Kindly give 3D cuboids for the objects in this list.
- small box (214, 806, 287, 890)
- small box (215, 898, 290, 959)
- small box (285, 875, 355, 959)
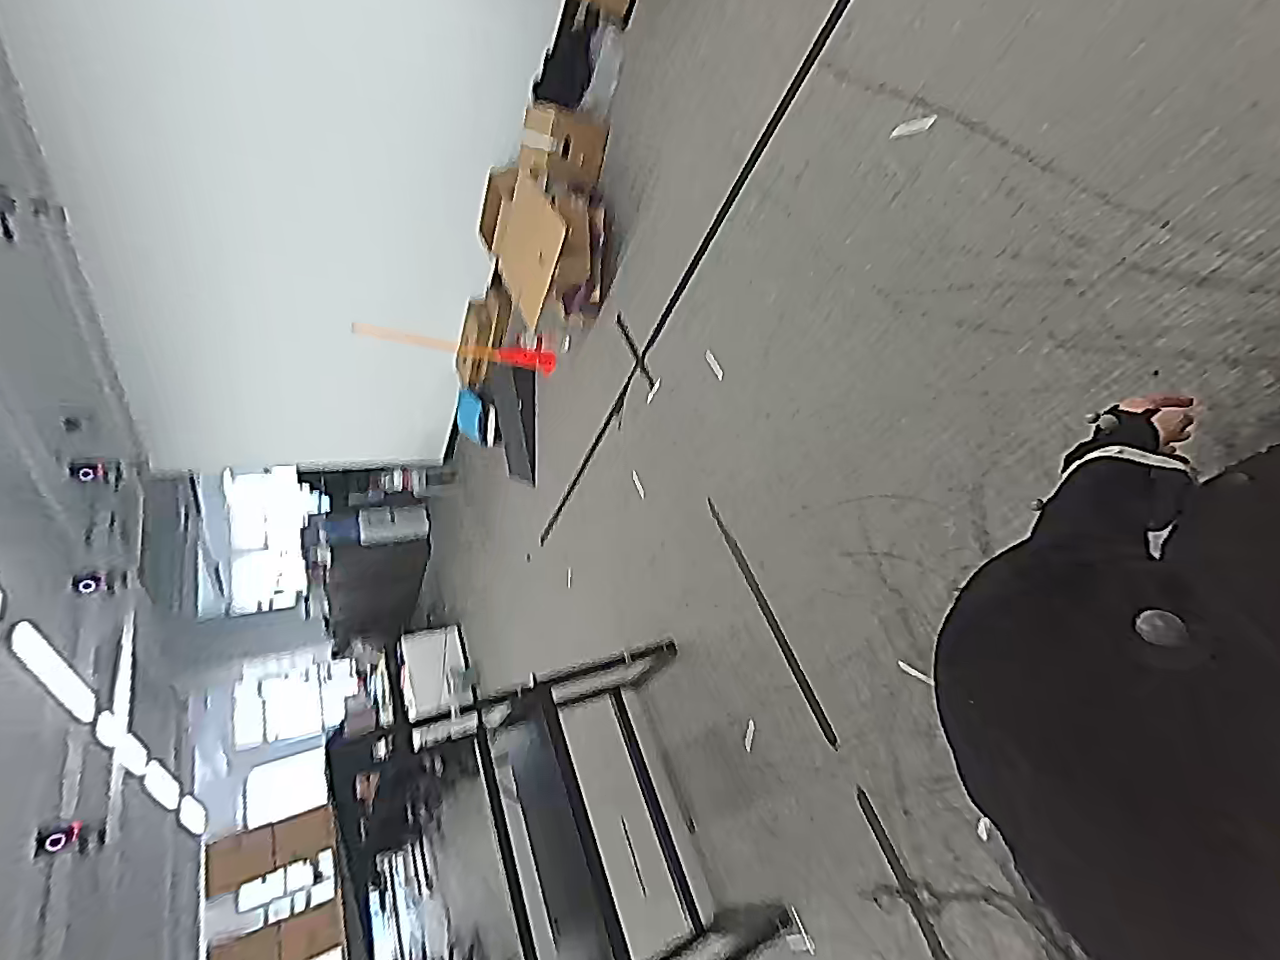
[{"bbox_3d":[-1.216,1.148,1.695,0.179,0.176,0.168,65,145,26],"label":"small box"},{"bbox_3d":[-1.127,1.368,1.587,0.168,0.176,0.179,-53,53,49],"label":"small box"},{"bbox_3d":[-0.992,1.358,1.681,0.179,0.176,0.168,-53,51,48],"label":"small box"}]
